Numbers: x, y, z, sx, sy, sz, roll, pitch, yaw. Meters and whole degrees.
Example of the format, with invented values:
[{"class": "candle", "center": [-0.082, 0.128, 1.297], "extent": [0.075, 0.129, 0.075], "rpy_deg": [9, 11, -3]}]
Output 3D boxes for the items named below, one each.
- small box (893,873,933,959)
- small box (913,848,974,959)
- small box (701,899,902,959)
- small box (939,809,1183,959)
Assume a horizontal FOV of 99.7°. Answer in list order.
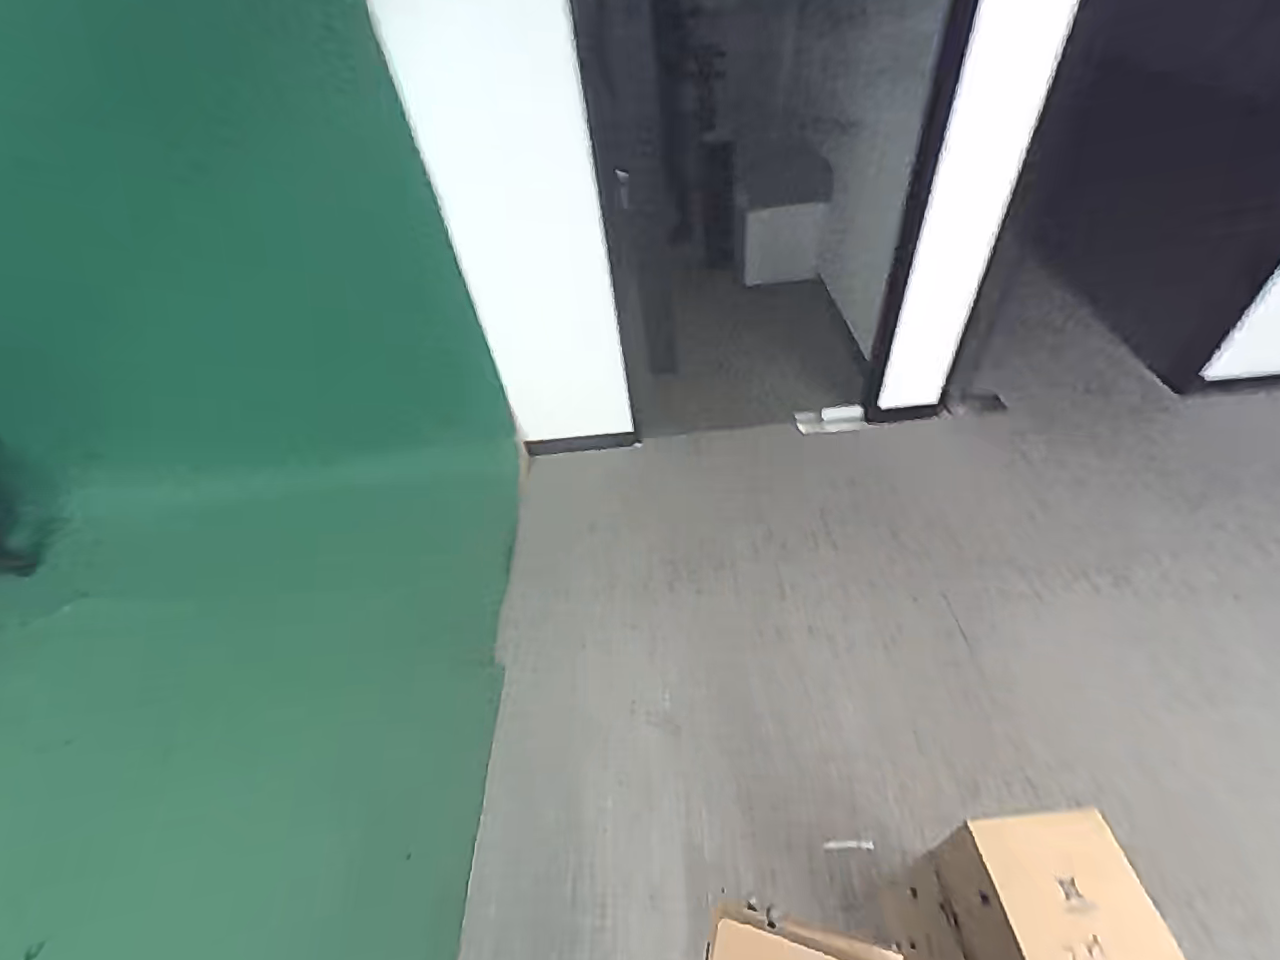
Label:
[{"class": "small box", "center": [0.552, 0.775, 0.908], "extent": [0.168, 0.176, 0.179], "rpy_deg": [-6, 45, 3]}, {"class": "small box", "center": [0.525, 0.656, 0.796], "extent": [0.179, 0.176, 0.168], "rpy_deg": [-5, 45, 3]}, {"class": "small box", "center": [0.142, 0.522, 0.518], "extent": [0.179, 0.176, 0.168], "rpy_deg": [6, 55, 13]}, {"class": "small box", "center": [0.509, 0.541, 0.681], "extent": [0.168, 0.176, 0.179], "rpy_deg": [-7, 45, 4]}]
